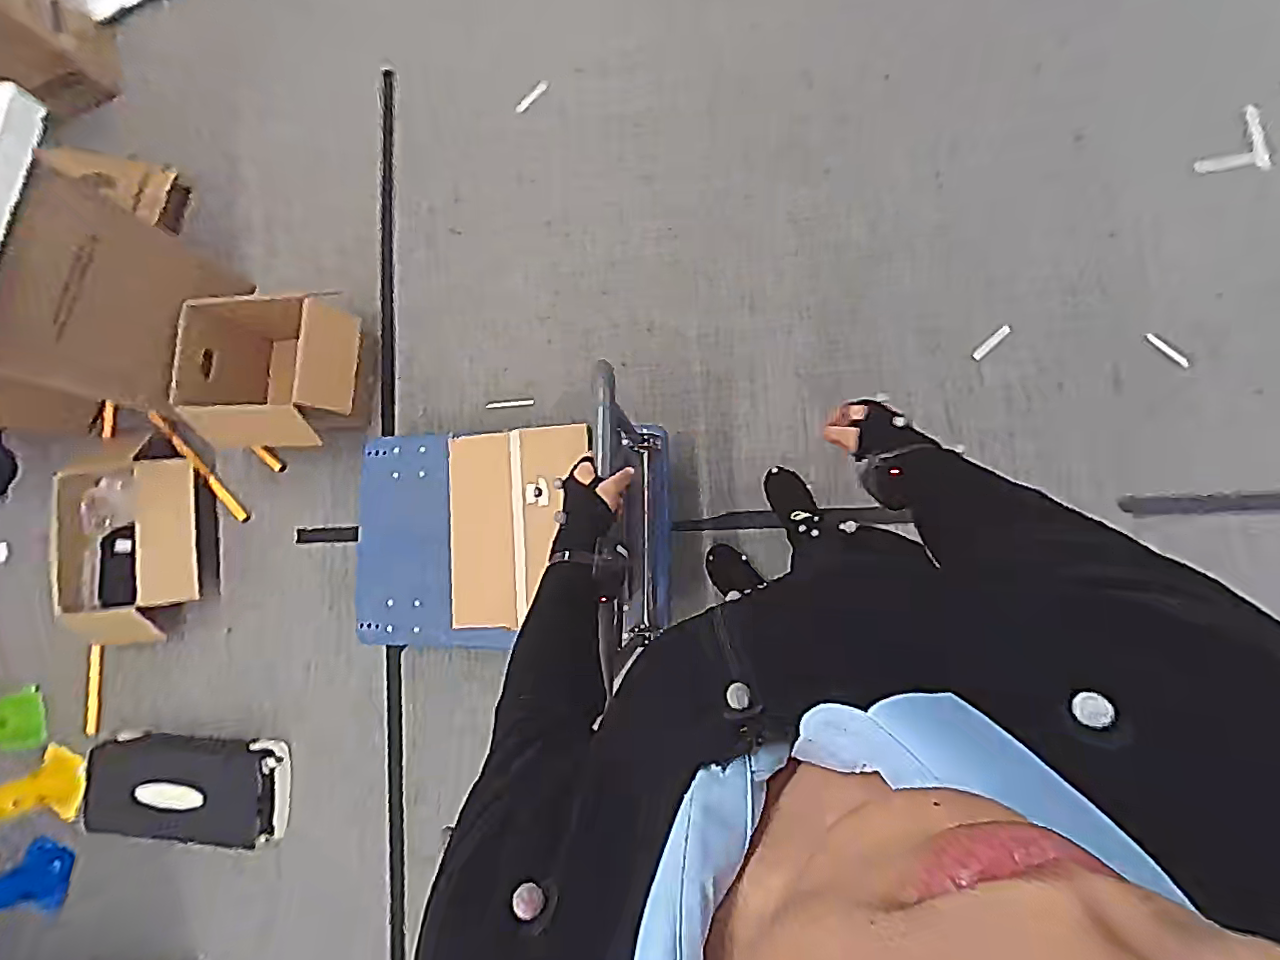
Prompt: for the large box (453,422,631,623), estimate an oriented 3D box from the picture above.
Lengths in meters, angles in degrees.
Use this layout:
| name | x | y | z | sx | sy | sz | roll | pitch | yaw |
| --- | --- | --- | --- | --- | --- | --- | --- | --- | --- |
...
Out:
| name | x | y | z | sx | sy | sz | roll | pitch | yaw |
| --- | --- | --- | --- | --- | --- | --- | --- | --- | --- |
| large box | -0.215 | 0.107 | 1.271 | 0.320 | 0.320 | 0.408 | -5 | 82 | 10 |
